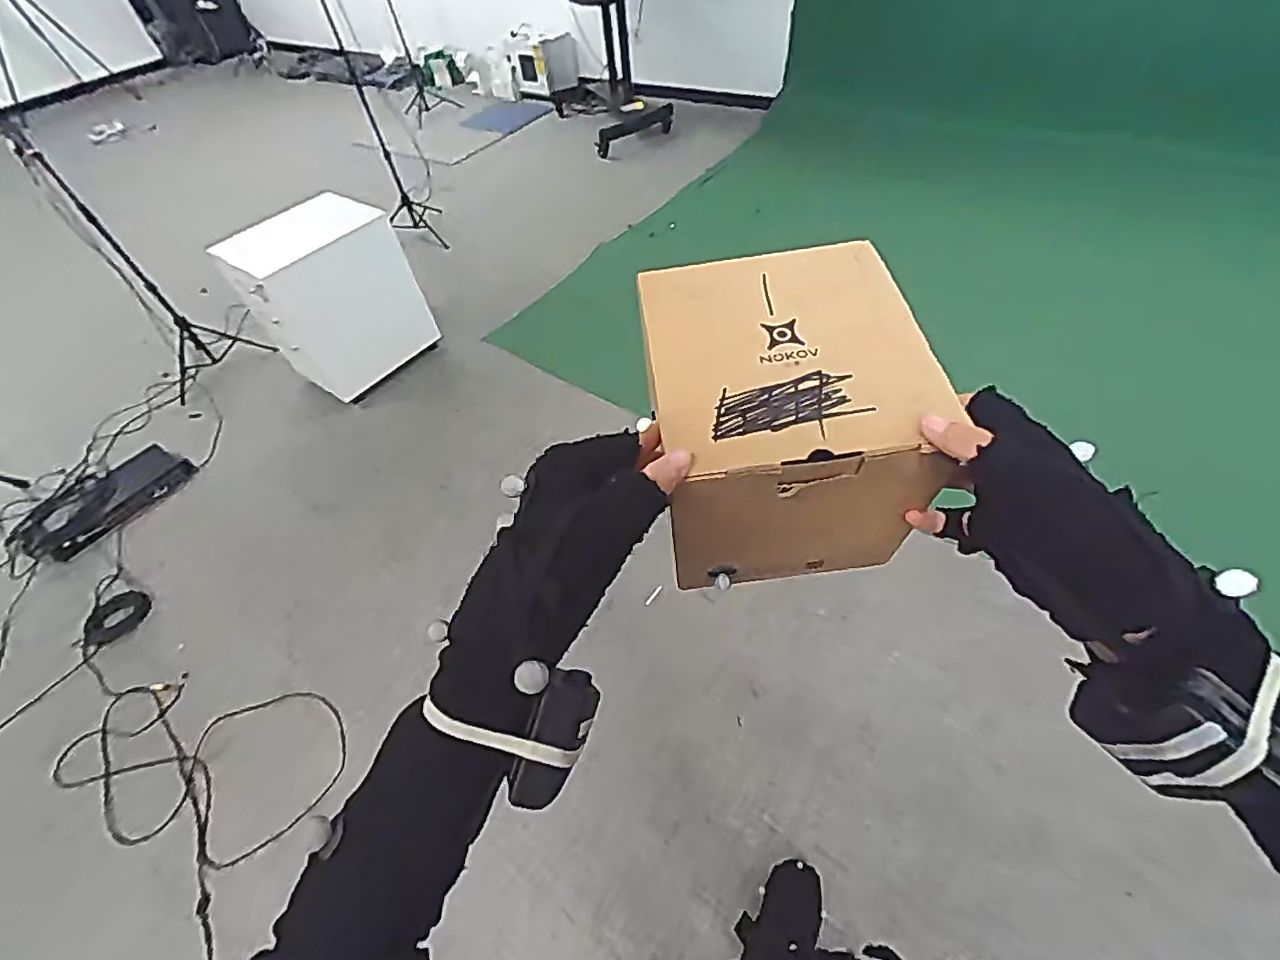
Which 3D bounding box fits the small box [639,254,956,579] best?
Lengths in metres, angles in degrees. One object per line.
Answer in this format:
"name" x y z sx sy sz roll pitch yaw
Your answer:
"small box" 0.095 -0.035 0.408 0.168 0.176 0.179 -7 57 2
